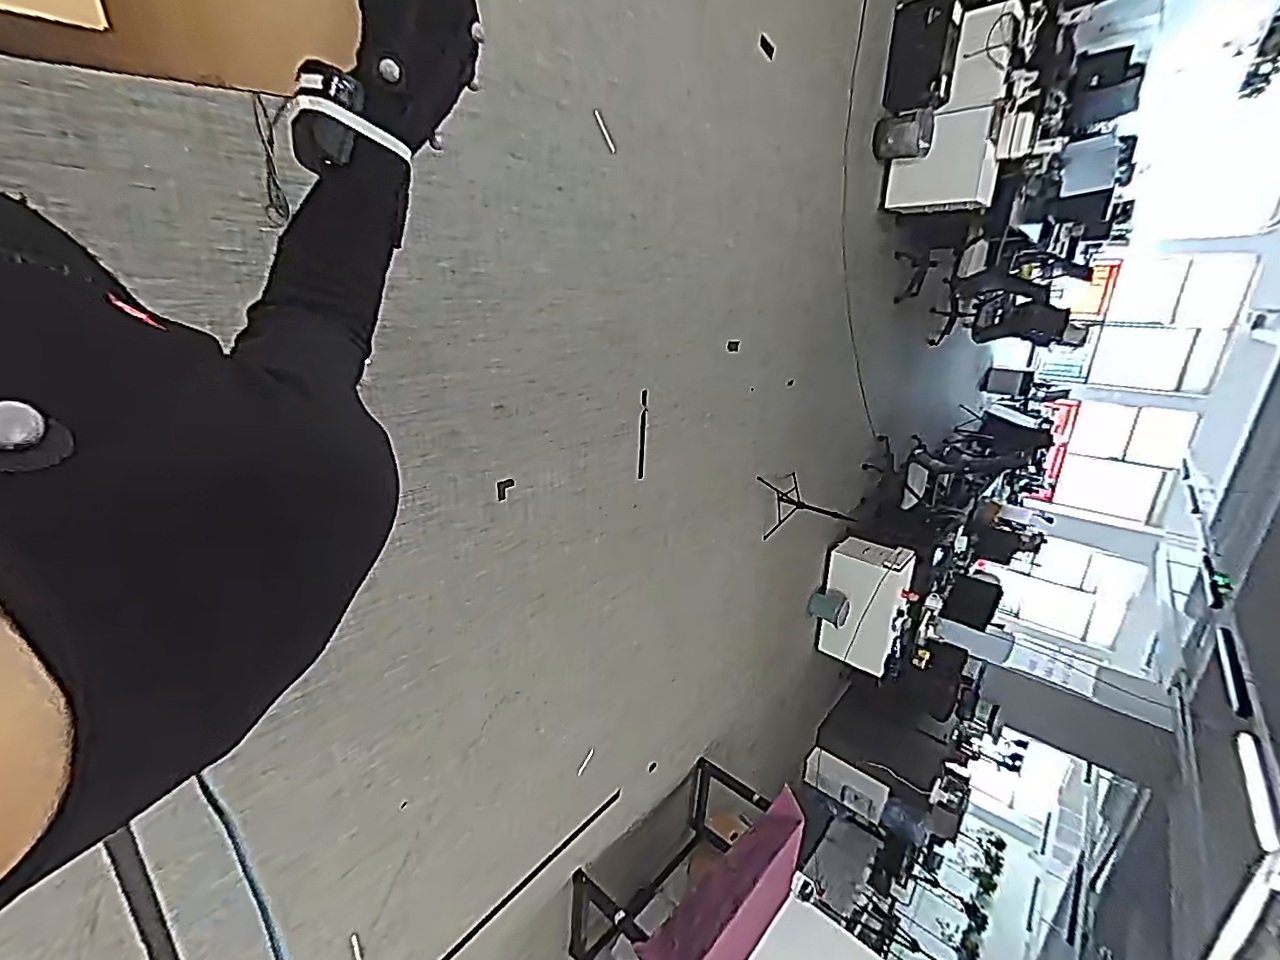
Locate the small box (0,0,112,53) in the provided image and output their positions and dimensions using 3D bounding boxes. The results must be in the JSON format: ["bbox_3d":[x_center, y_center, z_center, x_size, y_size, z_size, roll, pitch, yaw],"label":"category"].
[{"bbox_3d":[-0.414,-0.317,0.242,0.179,0.176,0.168,-40,143,-53],"label":"small box"}]
